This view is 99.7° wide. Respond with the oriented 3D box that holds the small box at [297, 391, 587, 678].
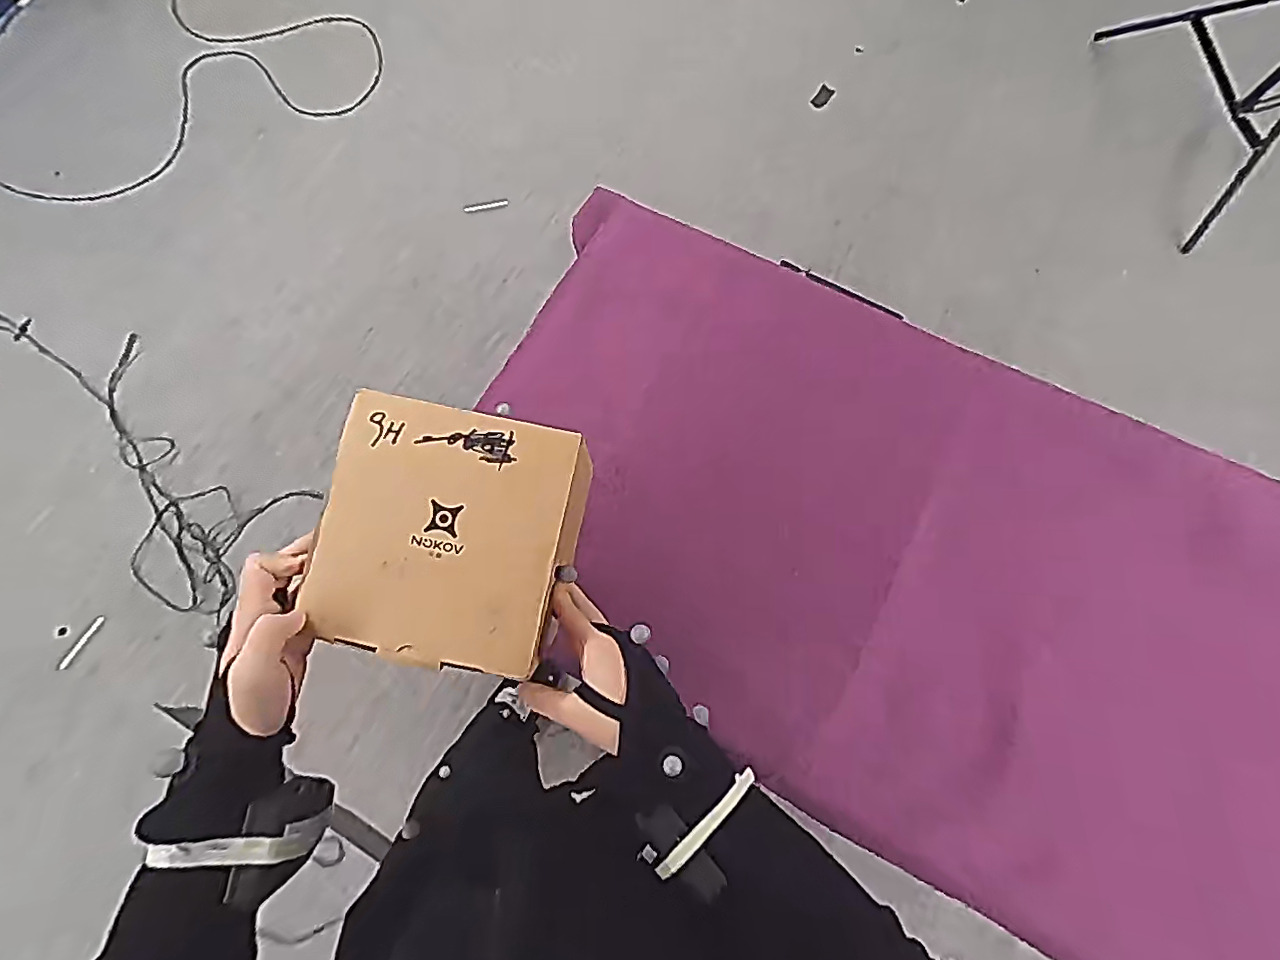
[{"bbox_3d":[-0.143,0.044,0.459,0.168,0.176,0.179,12,84,-1],"label":"small box"}]
